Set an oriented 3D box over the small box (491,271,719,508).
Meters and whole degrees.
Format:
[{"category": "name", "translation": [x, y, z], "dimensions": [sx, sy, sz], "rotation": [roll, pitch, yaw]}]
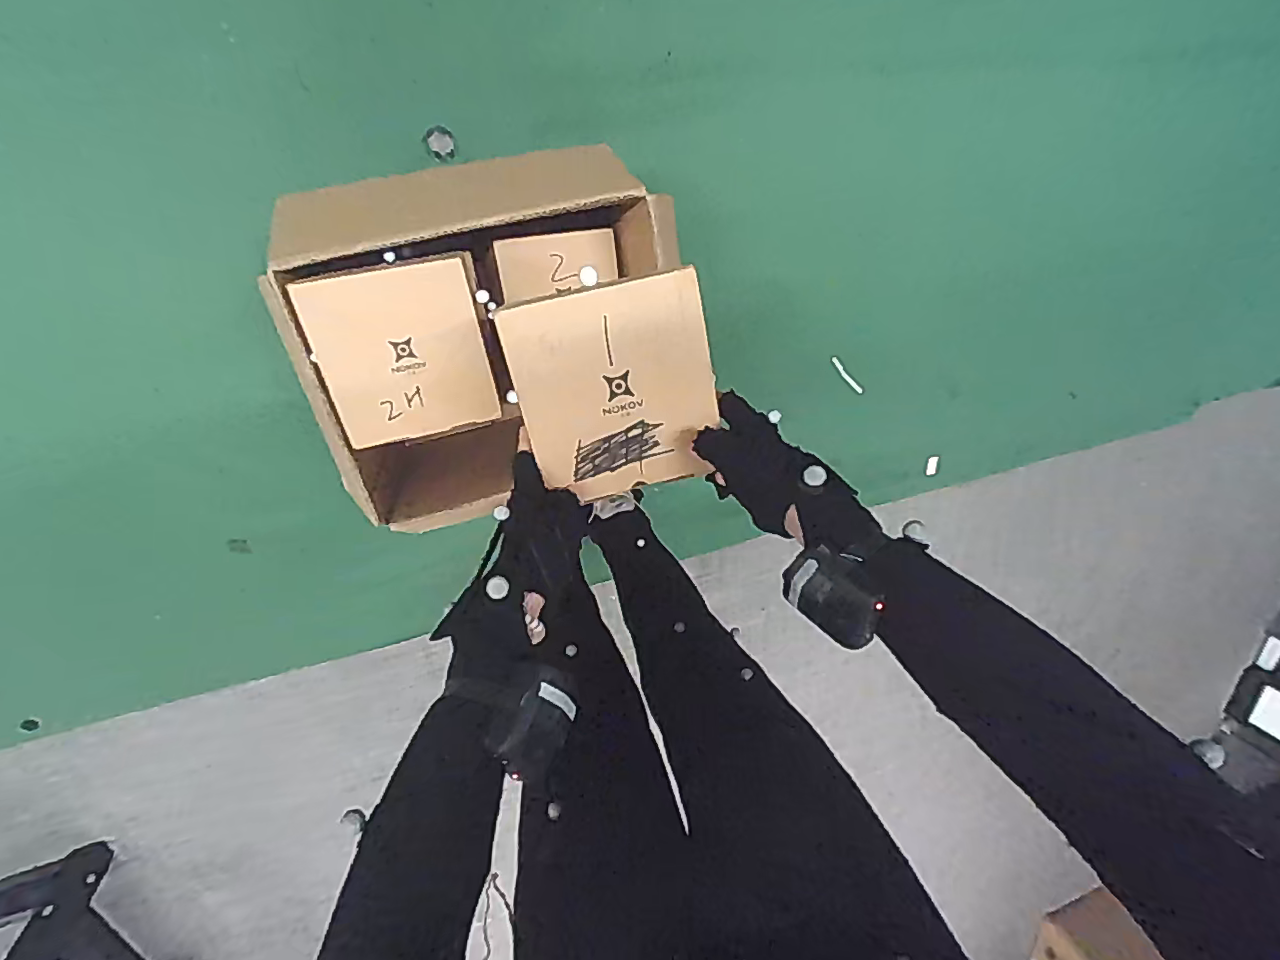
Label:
[{"category": "small box", "translation": [-0.034, -0.098, 0.528], "dimensions": [0.168, 0.176, 0.179], "rotation": [-14, 111, -5]}]
